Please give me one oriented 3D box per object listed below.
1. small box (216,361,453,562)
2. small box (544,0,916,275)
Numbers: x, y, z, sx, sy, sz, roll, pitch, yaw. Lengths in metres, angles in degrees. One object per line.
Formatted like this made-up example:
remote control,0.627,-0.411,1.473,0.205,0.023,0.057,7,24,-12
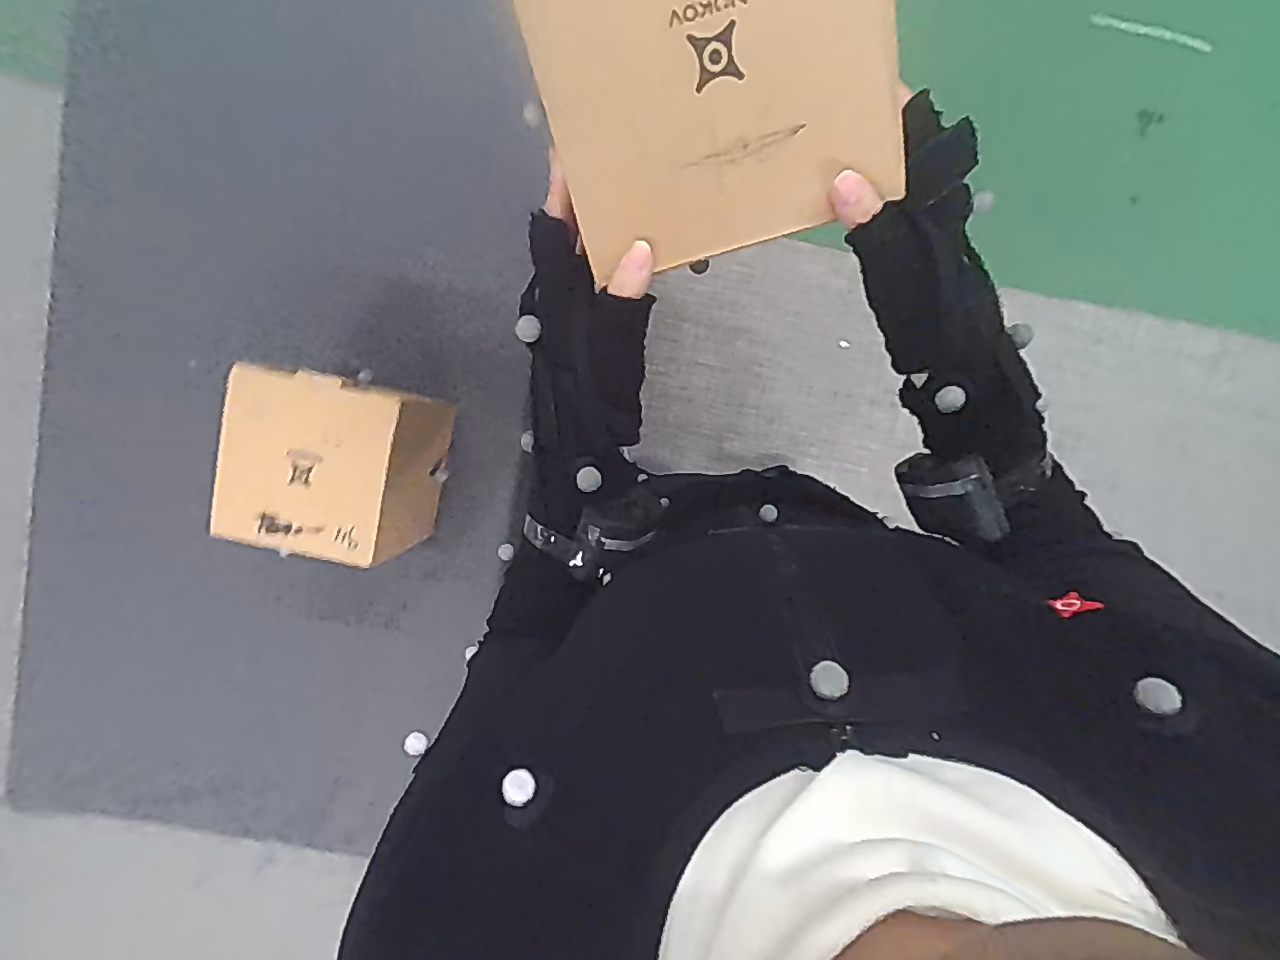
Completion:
small box,-0.330,-0.024,0.619,0.168,0.176,0.179,12,95,-1
small box,0.040,-0.234,0.322,0.168,0.176,0.179,-14,114,4
